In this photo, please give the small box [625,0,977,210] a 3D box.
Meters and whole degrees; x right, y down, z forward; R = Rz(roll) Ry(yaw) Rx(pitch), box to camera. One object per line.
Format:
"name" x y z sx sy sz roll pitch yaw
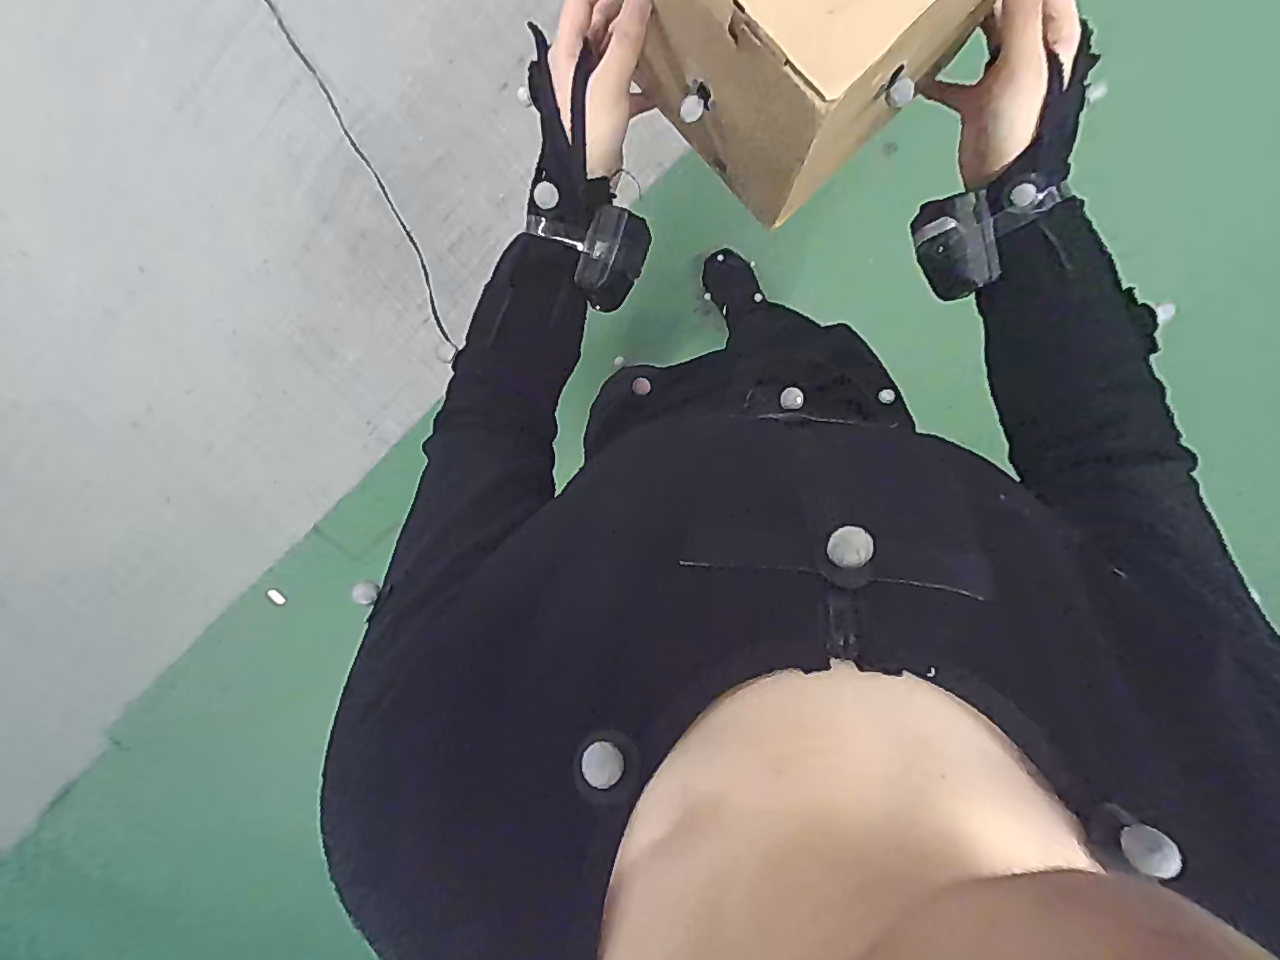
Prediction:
"small box" 0.101 -0.307 0.328 0.179 0.176 0.168 -43 91 8
